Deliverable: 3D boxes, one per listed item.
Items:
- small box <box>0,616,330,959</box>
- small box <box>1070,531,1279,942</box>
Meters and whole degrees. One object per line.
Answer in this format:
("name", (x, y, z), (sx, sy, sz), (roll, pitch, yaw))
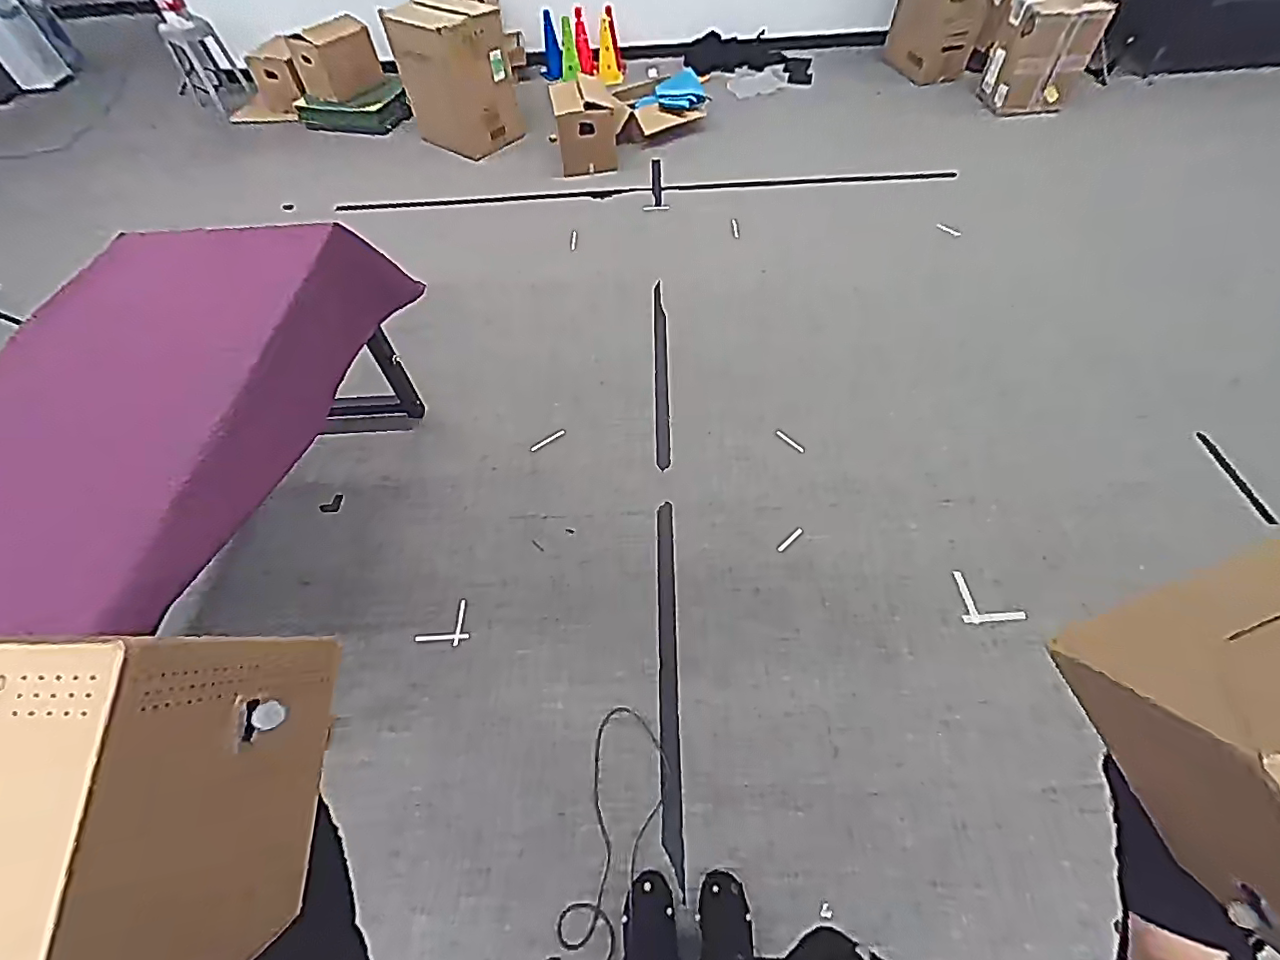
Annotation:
("small box", (-0.283, 0.155, 0.261), (0.168, 0.179, 0.176), (1, 74, -1))
("small box", (0.362, 0.132, 0.255), (0.168, 0.179, 0.176), (-29, 83, 11))
